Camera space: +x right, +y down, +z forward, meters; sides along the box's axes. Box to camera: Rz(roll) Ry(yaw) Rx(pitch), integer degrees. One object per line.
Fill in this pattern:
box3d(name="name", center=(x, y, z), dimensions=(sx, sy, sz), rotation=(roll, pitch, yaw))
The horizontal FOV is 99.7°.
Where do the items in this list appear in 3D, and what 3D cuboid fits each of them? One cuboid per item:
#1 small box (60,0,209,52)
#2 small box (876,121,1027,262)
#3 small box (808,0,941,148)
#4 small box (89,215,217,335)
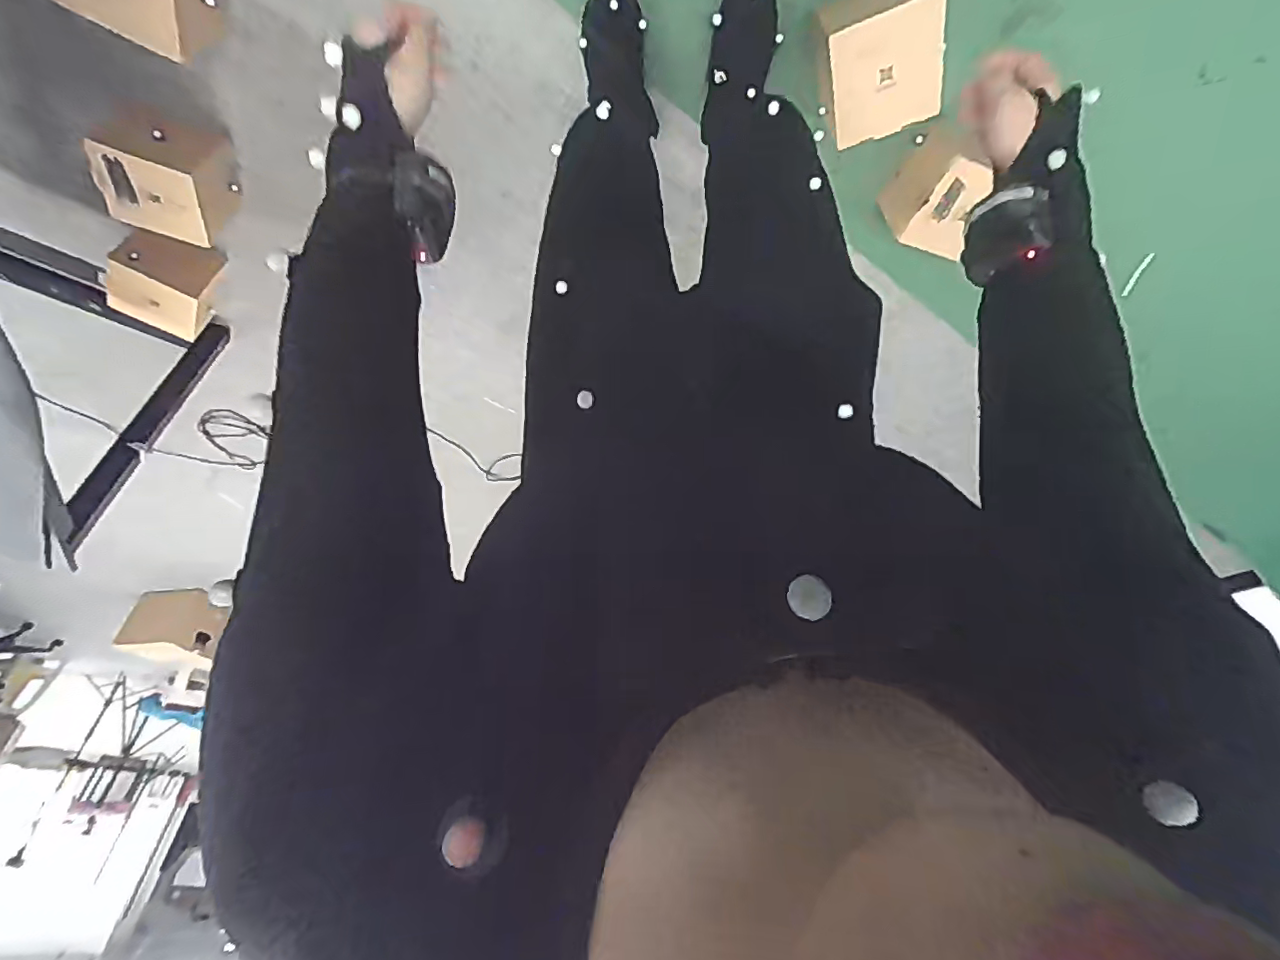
box3d(name="small box", center=(-0.785, -0.810, 0.815), dimensions=(0.179, 0.176, 0.168), rotation=(19, 141, -23))
box3d(name="small box", center=(0.604, -0.575, 1.074), dimensions=(0.179, 0.176, 0.168), rotation=(12, 144, -14))
box3d(name="small box", center=(0.385, -0.706, 0.902), dimensions=(0.168, 0.176, 0.179), rotation=(-12, 142, 18))
box3d(name="small box", center=(-1.152, -0.491, 1.290), dimensions=(0.179, 0.176, 0.168), rotation=(26, 138, -29))
